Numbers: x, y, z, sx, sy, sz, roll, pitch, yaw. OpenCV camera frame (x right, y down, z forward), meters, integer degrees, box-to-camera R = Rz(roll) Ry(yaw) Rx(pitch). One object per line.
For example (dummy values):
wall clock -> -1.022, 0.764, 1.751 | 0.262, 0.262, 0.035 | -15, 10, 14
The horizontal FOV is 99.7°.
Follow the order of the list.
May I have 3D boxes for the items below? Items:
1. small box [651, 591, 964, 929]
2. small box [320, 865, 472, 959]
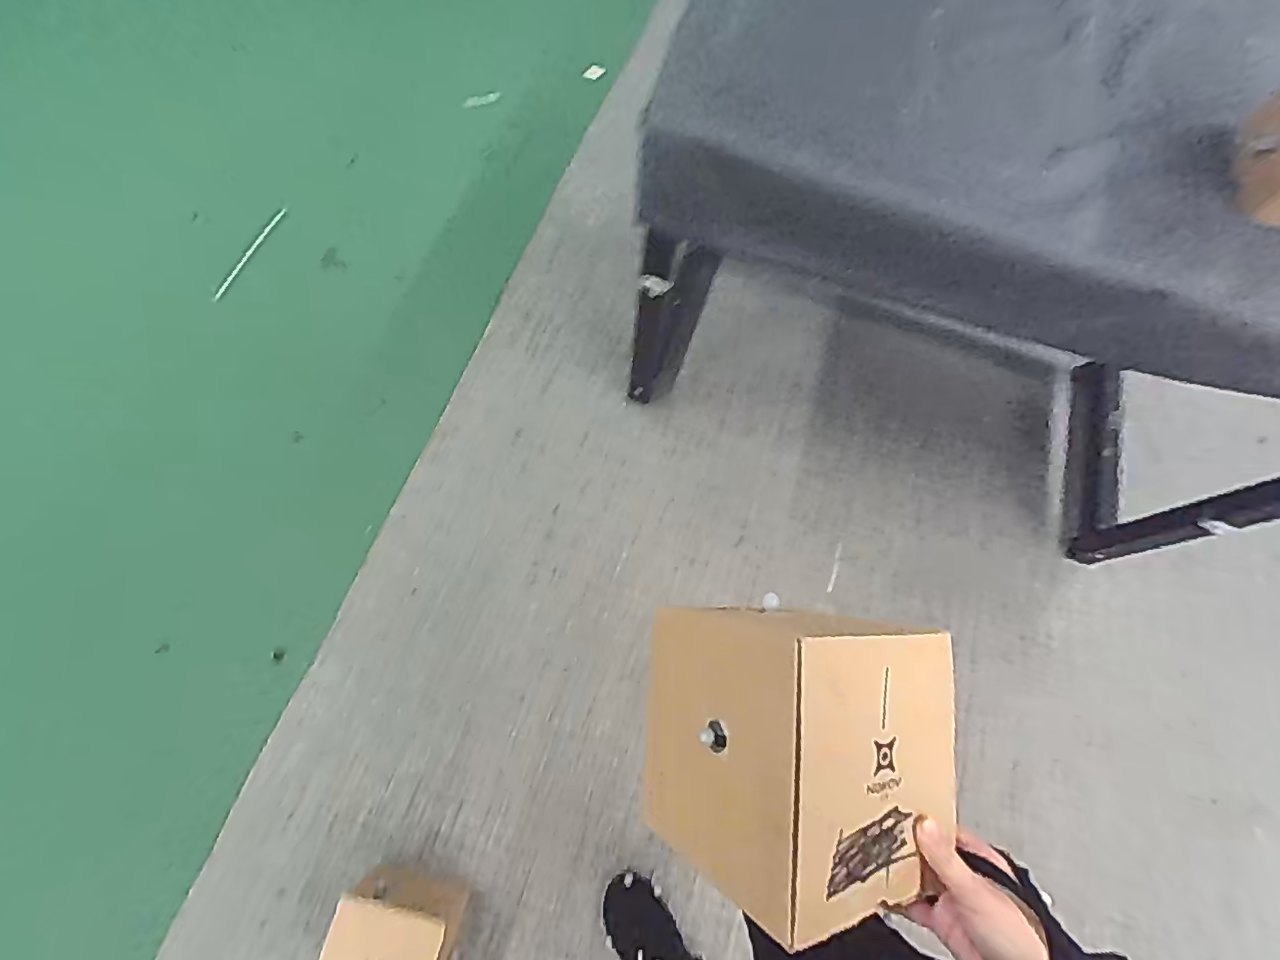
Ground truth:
small box -> 0.122, 0.187, 0.424 | 0.168, 0.176, 0.179 | 10, 80, -30
small box -> -0.400, 0.763, 0.885 | 0.179, 0.176, 0.168 | 14, 70, 1
